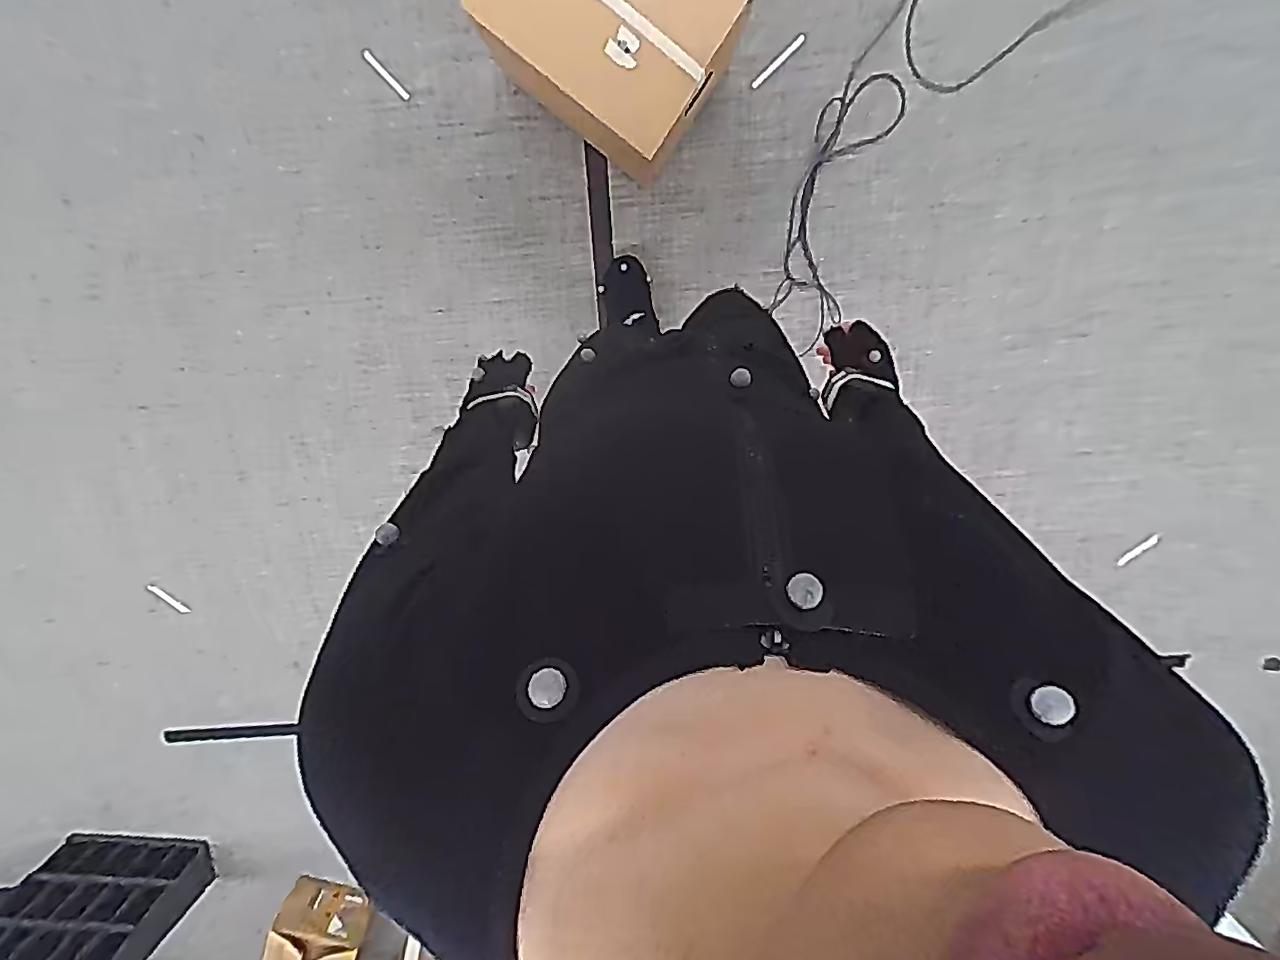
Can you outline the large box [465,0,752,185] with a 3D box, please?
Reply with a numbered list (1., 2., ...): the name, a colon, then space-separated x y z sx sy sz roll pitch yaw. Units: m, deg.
1. large box: -0.057 -0.864 1.057 0.408 0.320 0.320 33 106 -12
